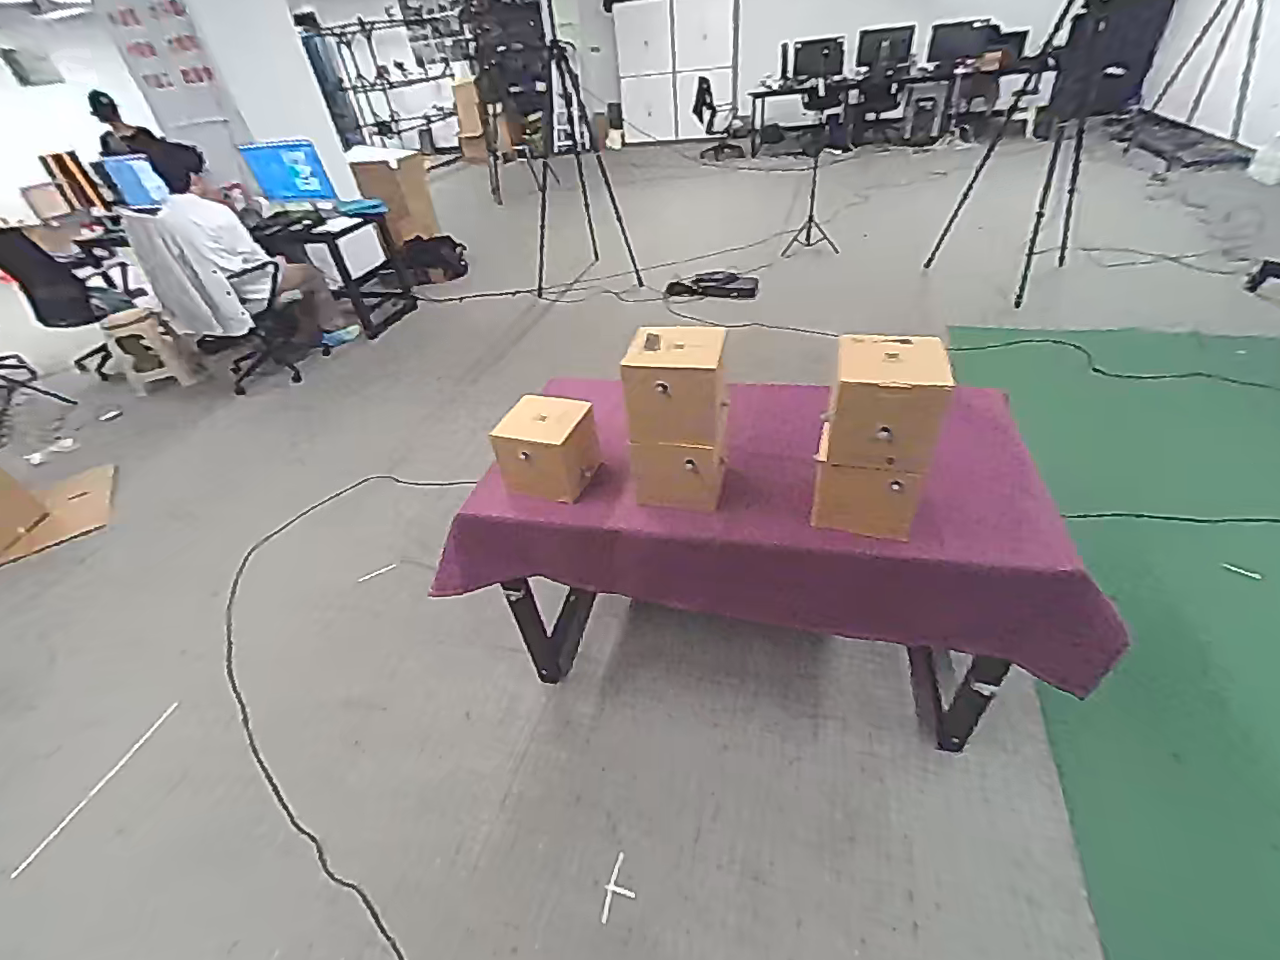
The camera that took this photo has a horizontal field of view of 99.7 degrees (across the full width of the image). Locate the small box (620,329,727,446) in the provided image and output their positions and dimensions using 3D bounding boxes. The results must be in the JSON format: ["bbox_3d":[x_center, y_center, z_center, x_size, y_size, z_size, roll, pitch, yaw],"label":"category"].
[{"bbox_3d":[0.073,-0.181,1.055,0.179,0.176,0.168,5,41,14],"label":"small box"}]

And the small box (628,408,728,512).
[{"bbox_3d":[0.087,-0.050,1.154,0.179,0.176,0.168,6,40,16],"label":"small box"}]

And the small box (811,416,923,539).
[{"bbox_3d":[0.434,-0.006,1.045,0.179,0.176,0.168,9,42,19],"label":"small box"}]

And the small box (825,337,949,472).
[{"bbox_3d":[0.420,-0.132,0.941,0.168,0.176,0.179,7,42,16],"label":"small box"}]

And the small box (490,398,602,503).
[{"bbox_3d":[-0.204,-0.067,1.223,0.179,0.176,0.168,10,43,19],"label":"small box"}]
